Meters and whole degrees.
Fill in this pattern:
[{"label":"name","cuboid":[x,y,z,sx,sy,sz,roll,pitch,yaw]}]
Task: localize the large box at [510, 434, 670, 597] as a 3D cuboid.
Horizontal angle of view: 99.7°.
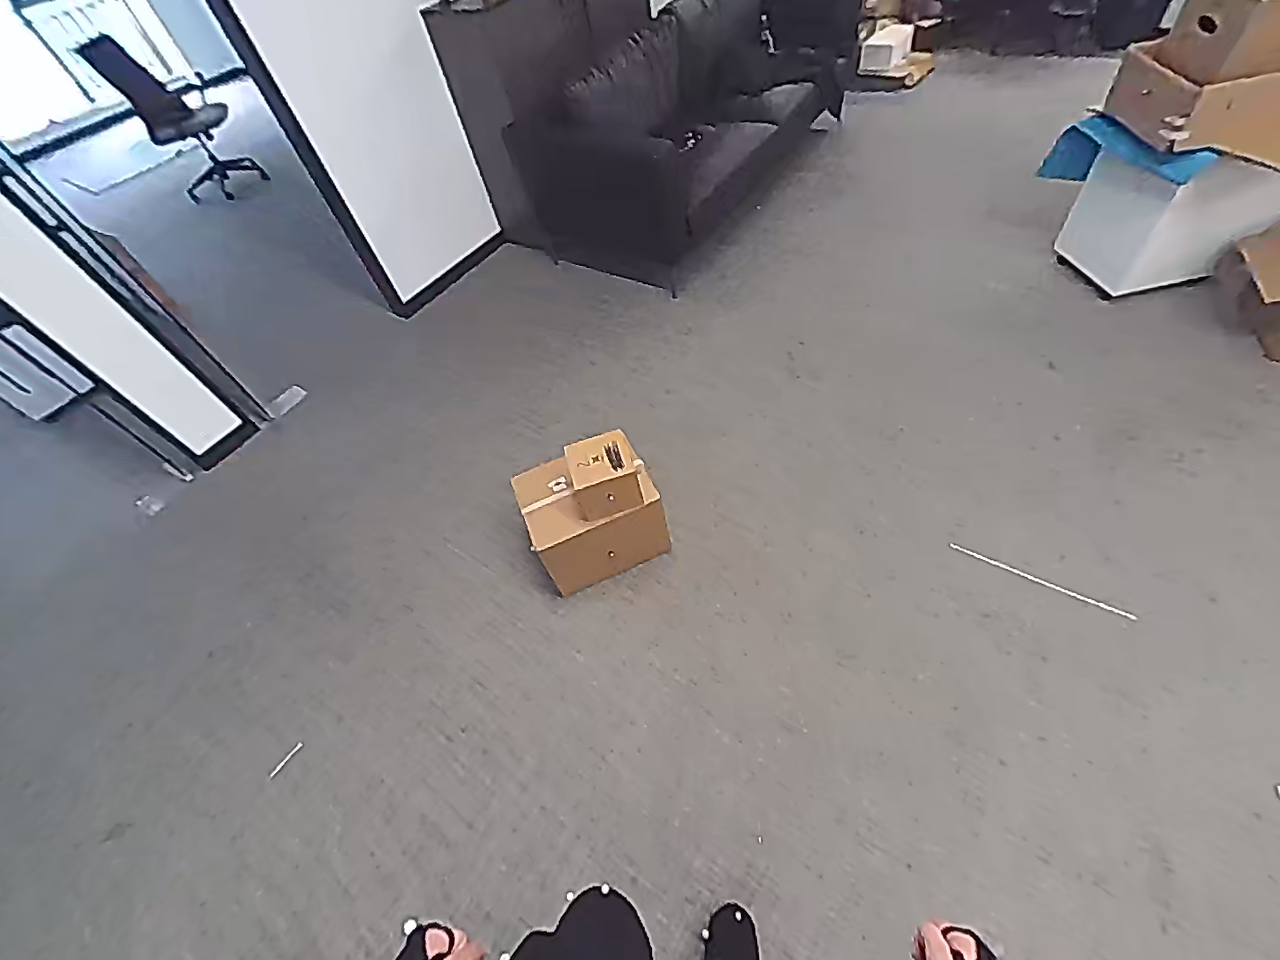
[{"label":"large box","cuboid":[-0.156,0.120,1.779,0.408,0.320,0.320,-24,52,-7]}]
